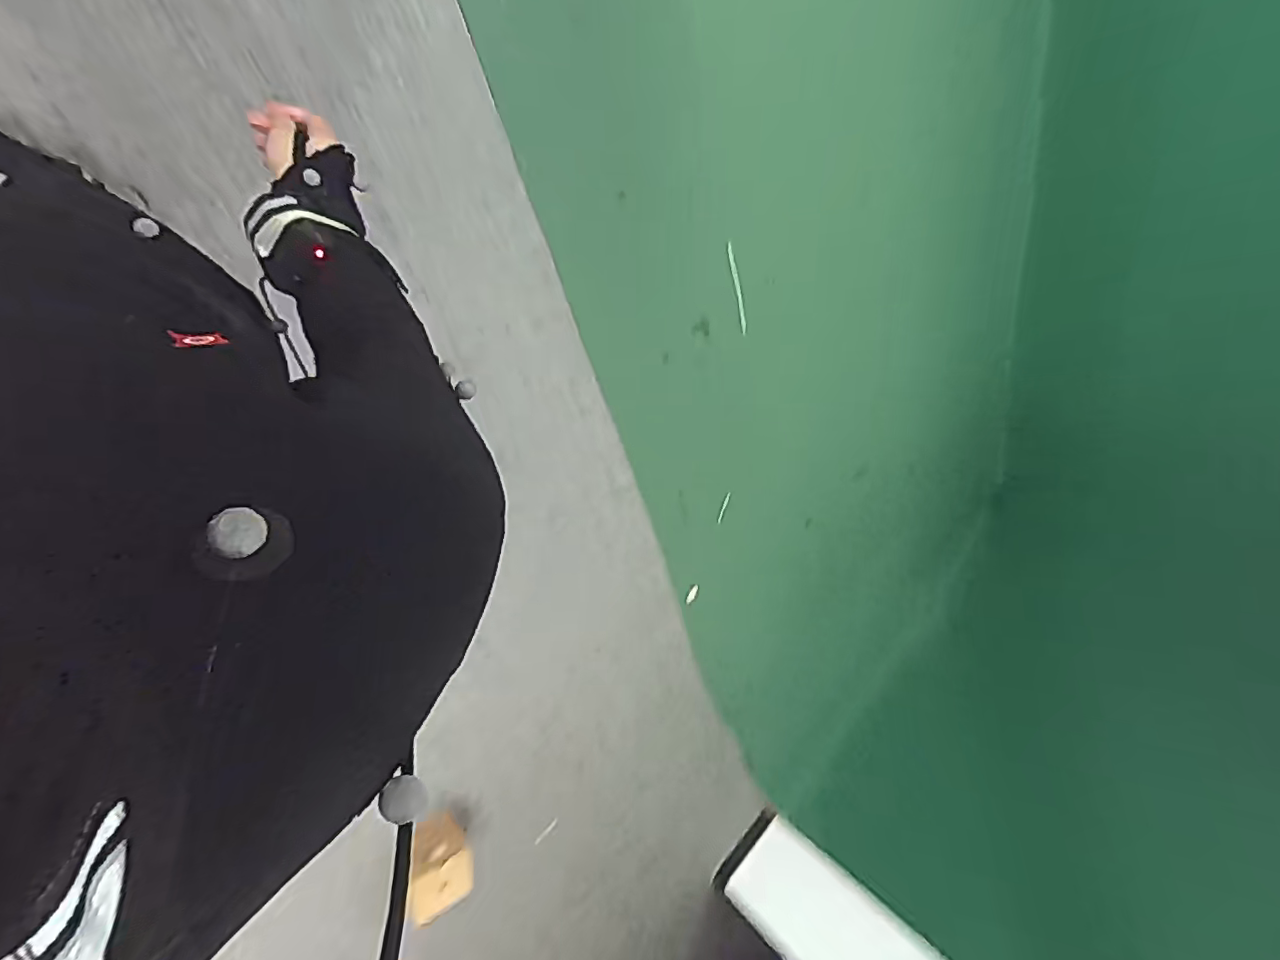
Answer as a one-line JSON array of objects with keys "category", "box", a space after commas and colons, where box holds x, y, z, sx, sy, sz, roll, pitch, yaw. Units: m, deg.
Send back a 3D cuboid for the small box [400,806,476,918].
[{"category": "small box", "box": [-0.606, 1.136, 1.623, 0.168, 0.176, 0.179, -12, 113, -37]}]
